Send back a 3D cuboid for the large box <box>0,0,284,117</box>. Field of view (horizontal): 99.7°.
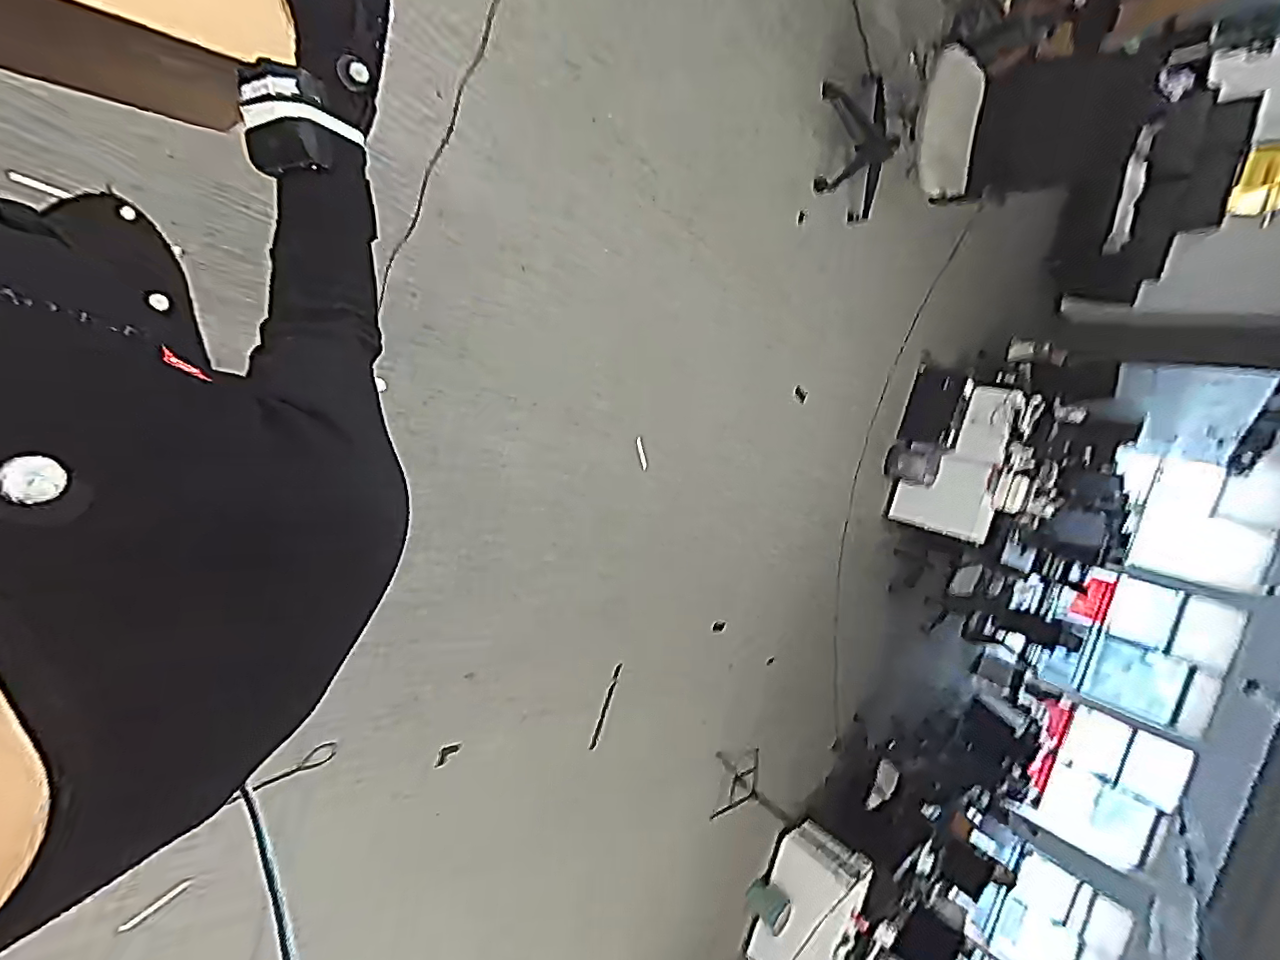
[{"bbox_3d":[-0.492,-0.475,0.323,0.408,0.320,0.320,-9,115,-44],"label":"large box"}]
